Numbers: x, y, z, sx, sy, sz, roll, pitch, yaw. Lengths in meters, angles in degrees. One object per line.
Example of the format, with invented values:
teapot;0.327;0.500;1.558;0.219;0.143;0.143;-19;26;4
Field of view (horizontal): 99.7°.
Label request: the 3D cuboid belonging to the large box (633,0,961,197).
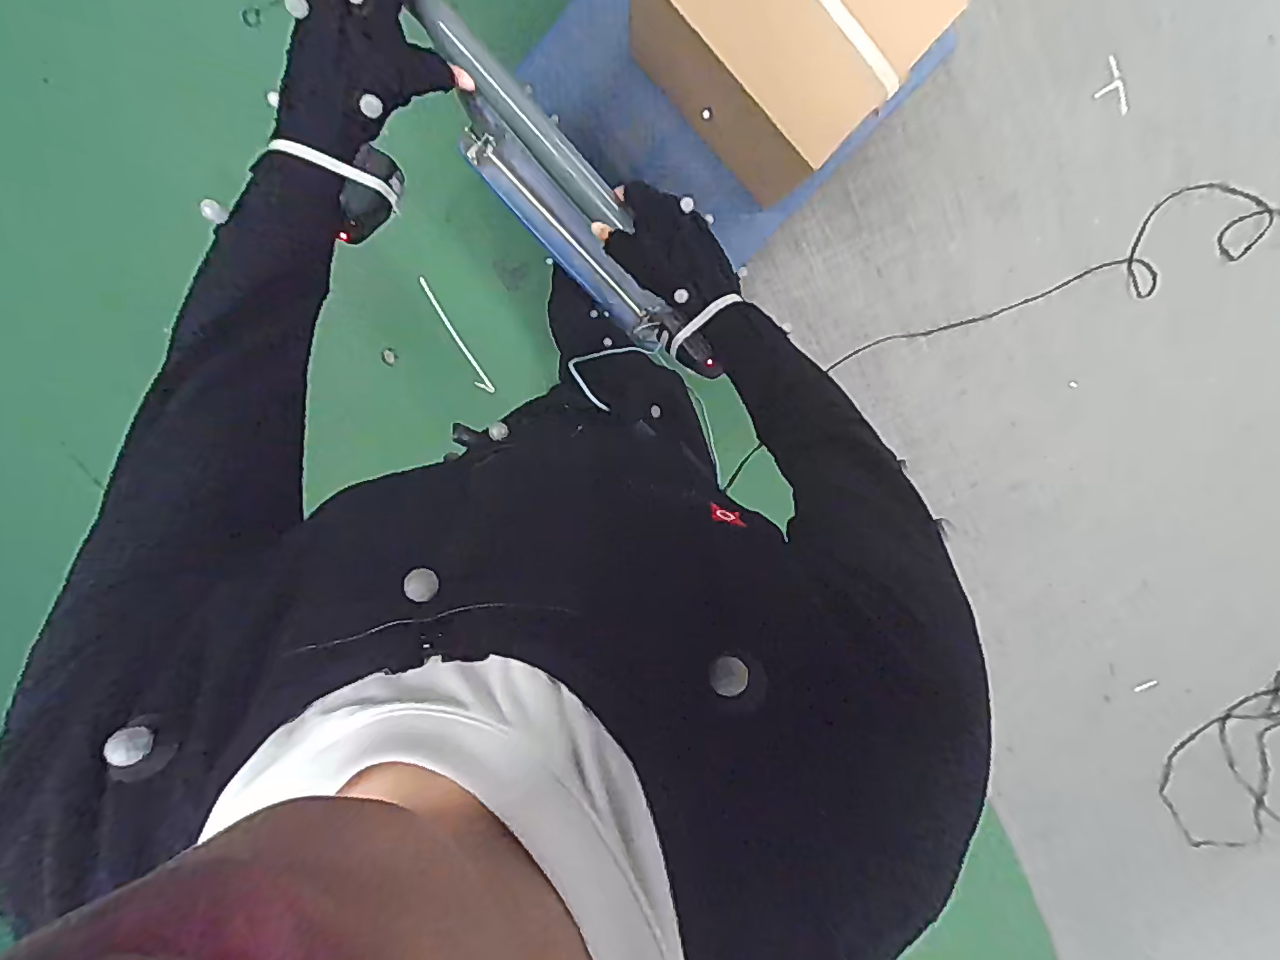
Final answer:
large box;0.235;-0.778;0.923;0.408;0.320;0.320;42;101;-12
